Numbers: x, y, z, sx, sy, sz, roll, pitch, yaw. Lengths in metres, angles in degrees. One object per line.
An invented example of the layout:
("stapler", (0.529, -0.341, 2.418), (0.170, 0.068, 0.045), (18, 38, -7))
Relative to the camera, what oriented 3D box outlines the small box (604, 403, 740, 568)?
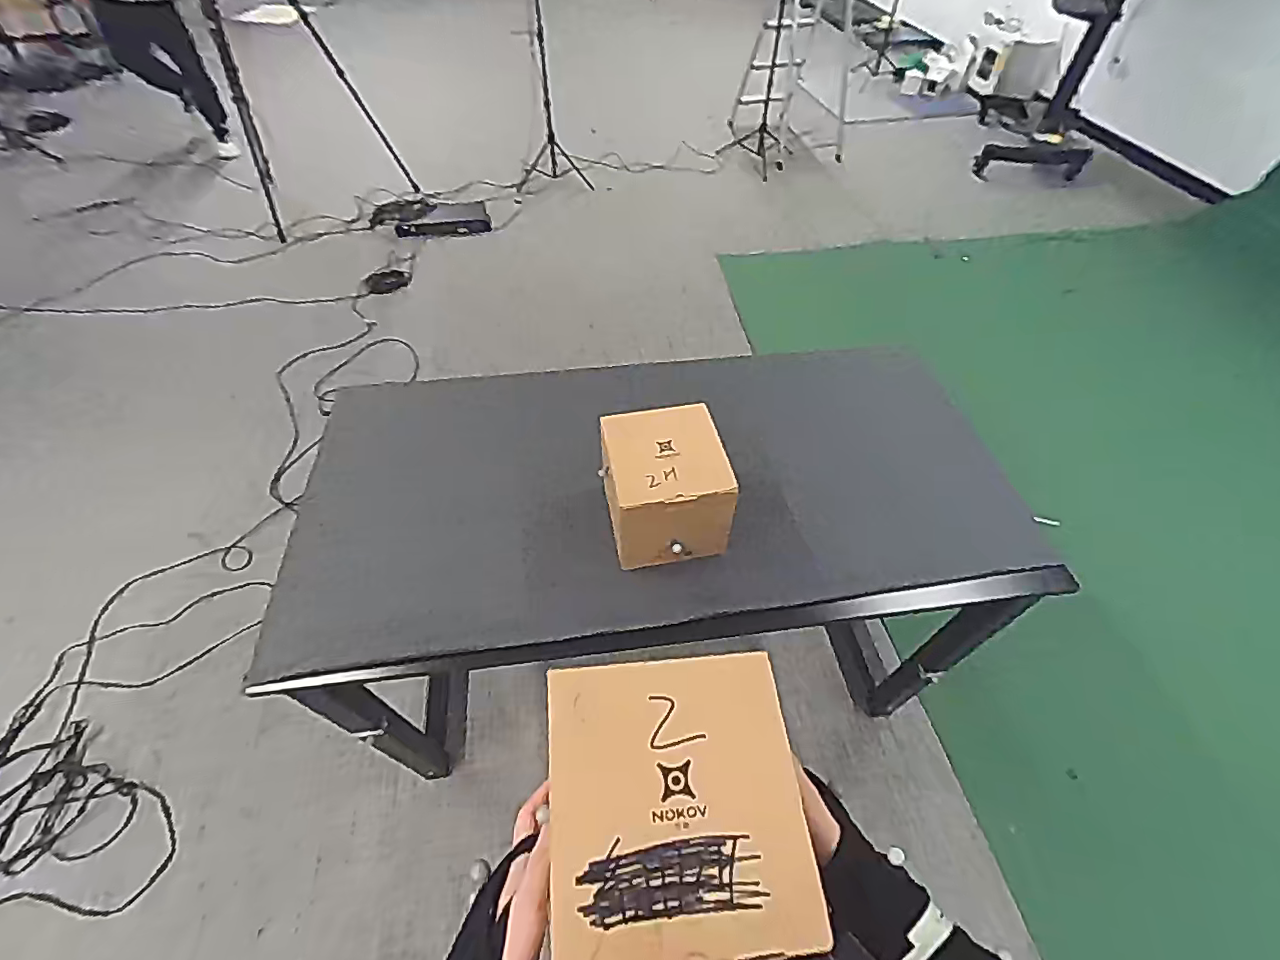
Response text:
("small box", (0.038, 0.009, 0.827), (0.168, 0.176, 0.179), (-9, 51, -7))
